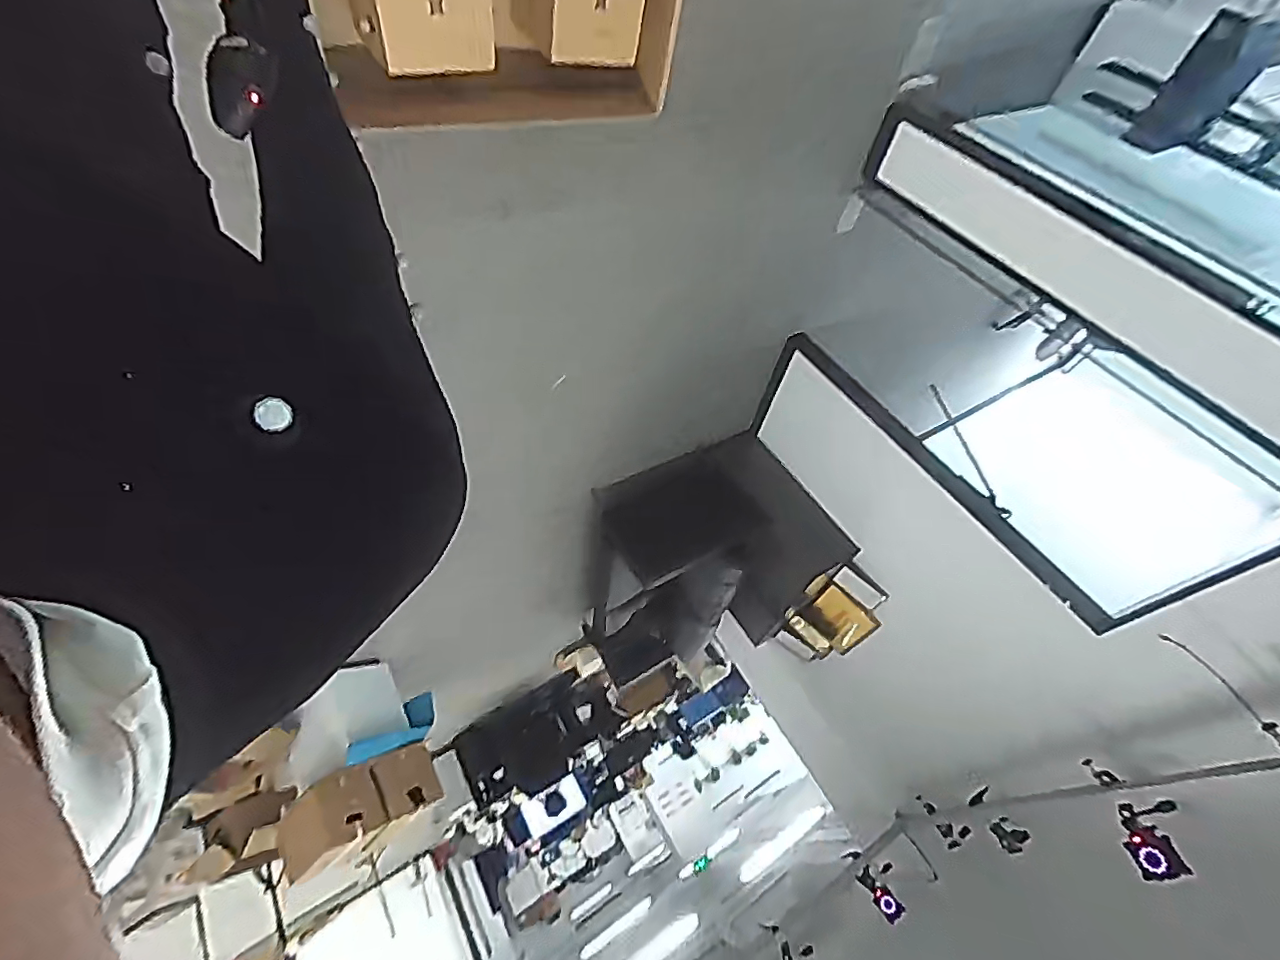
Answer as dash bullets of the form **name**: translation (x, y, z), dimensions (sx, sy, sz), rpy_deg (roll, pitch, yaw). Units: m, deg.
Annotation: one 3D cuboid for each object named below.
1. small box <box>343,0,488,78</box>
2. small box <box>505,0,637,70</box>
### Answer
- **small box**: translation (-0.338, -0.730, 0.797), dimensions (0.168, 0.176, 0.179), rpy_deg (-24, 152, -26)
- **small box**: translation (-0.118, -0.831, 0.911), dimensions (0.168, 0.176, 0.179), rpy_deg (-21, 151, -29)
